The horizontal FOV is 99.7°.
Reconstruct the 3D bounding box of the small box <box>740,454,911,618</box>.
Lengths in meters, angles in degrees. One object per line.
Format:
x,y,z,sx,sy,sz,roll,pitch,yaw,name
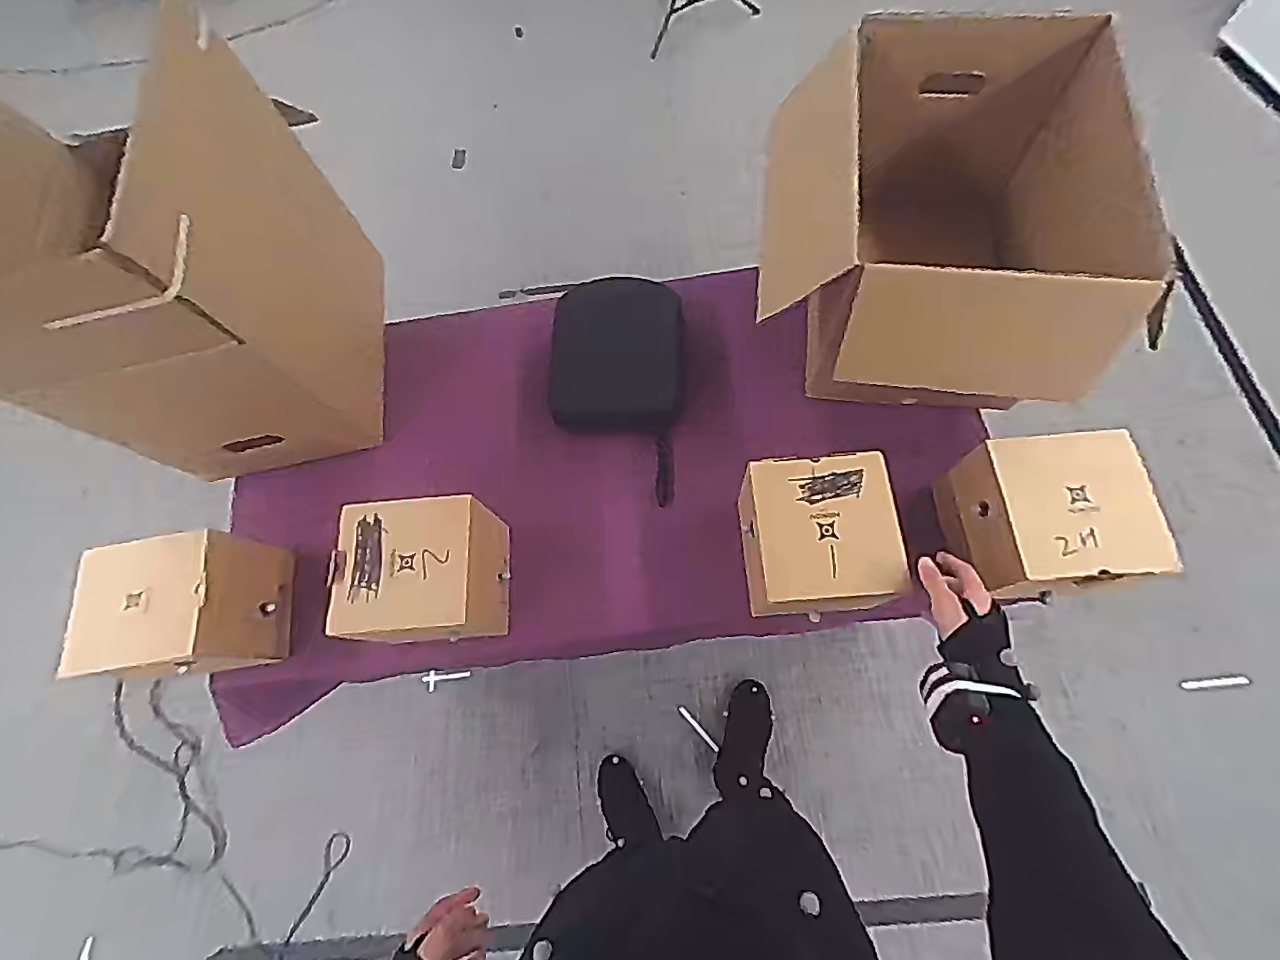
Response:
0.228,0.081,0.716,0.168,0.176,0.179,-5,71,4,small box

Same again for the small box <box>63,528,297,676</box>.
-0.630,0.180,0.765,0.179,0.176,0.168,-10,69,1,small box

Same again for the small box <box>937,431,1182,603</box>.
0.511,0.055,0.695,0.168,0.176,0.179,-4,69,5,small box
